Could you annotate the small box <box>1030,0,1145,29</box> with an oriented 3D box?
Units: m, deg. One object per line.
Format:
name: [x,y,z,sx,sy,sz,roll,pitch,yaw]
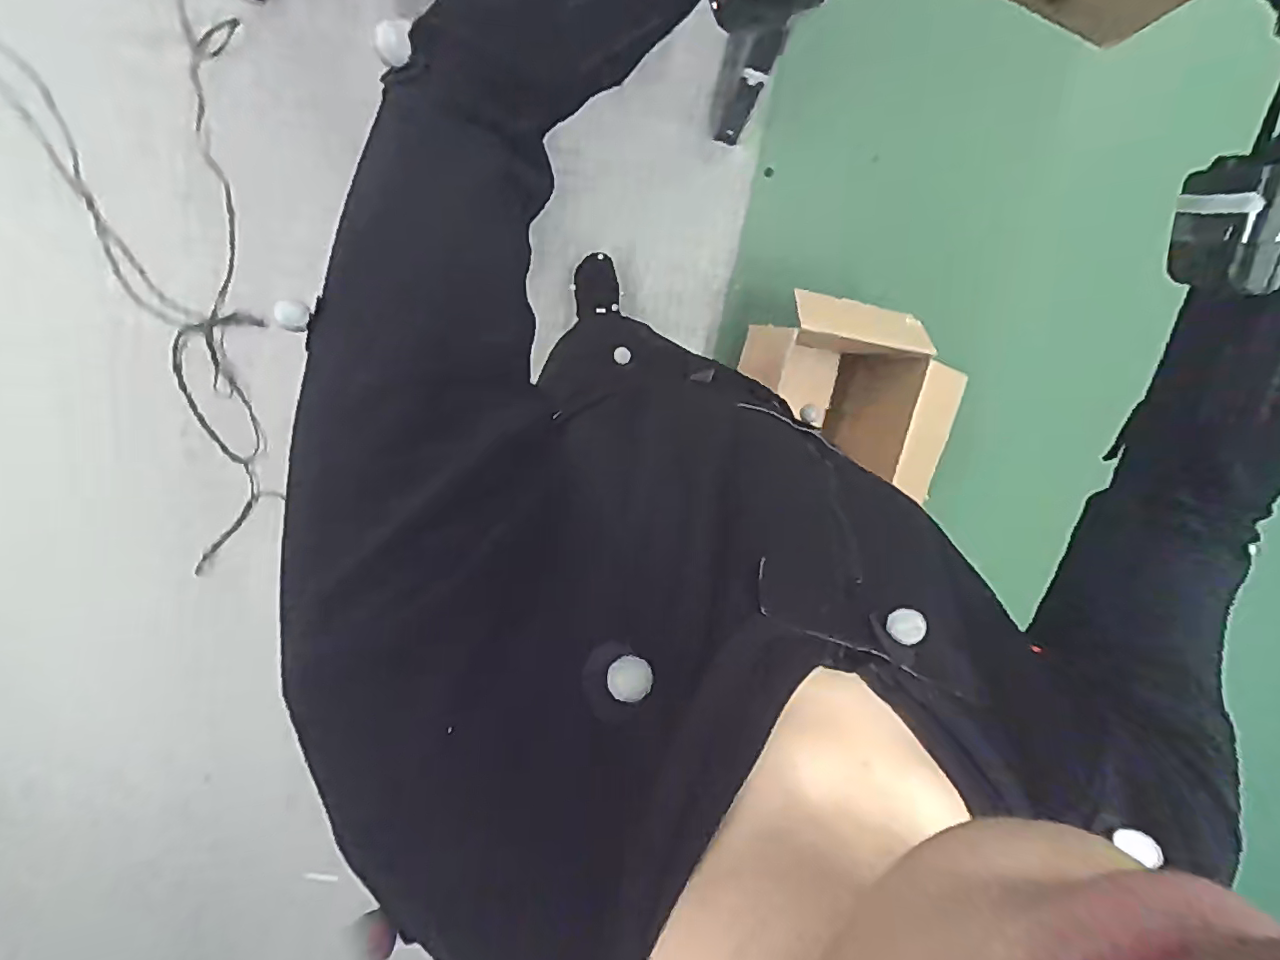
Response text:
small box: [0.271,-0.387,0.269,0.168,0.176,0.179,18,101,-7]
